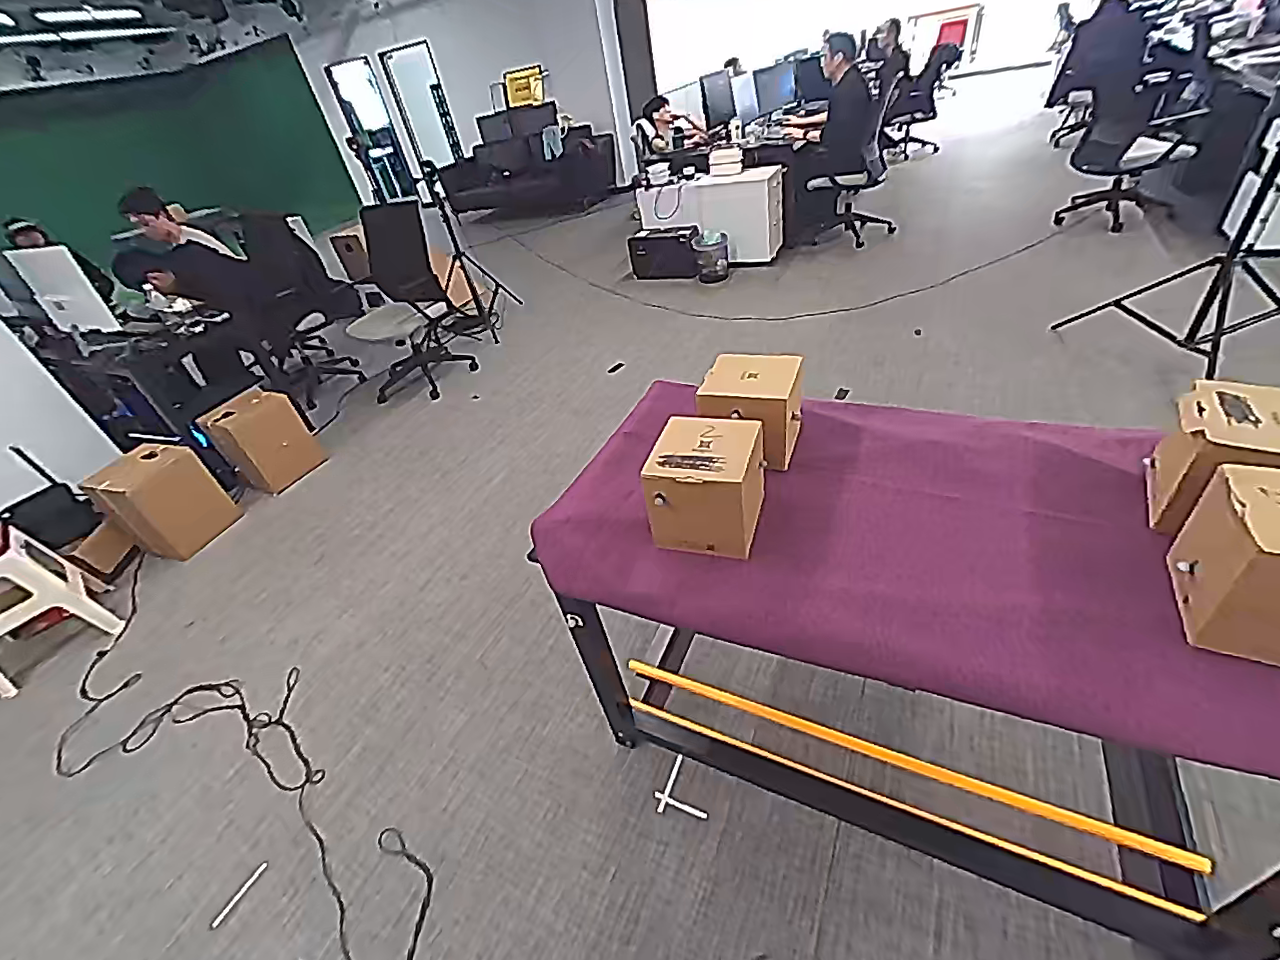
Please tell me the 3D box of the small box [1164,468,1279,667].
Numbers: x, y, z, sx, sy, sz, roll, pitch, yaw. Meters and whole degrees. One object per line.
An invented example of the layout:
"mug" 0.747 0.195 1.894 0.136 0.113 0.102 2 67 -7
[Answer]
"small box" 0.776 0.111 0.636 0.179 0.176 0.168 11 41 28

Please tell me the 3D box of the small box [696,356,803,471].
"small box" 0.227 -0.136 1.102 0.179 0.176 0.168 7 42 23

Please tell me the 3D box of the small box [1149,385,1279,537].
"small box" 0.863 -0.012 0.768 0.179 0.176 0.168 16 47 30
